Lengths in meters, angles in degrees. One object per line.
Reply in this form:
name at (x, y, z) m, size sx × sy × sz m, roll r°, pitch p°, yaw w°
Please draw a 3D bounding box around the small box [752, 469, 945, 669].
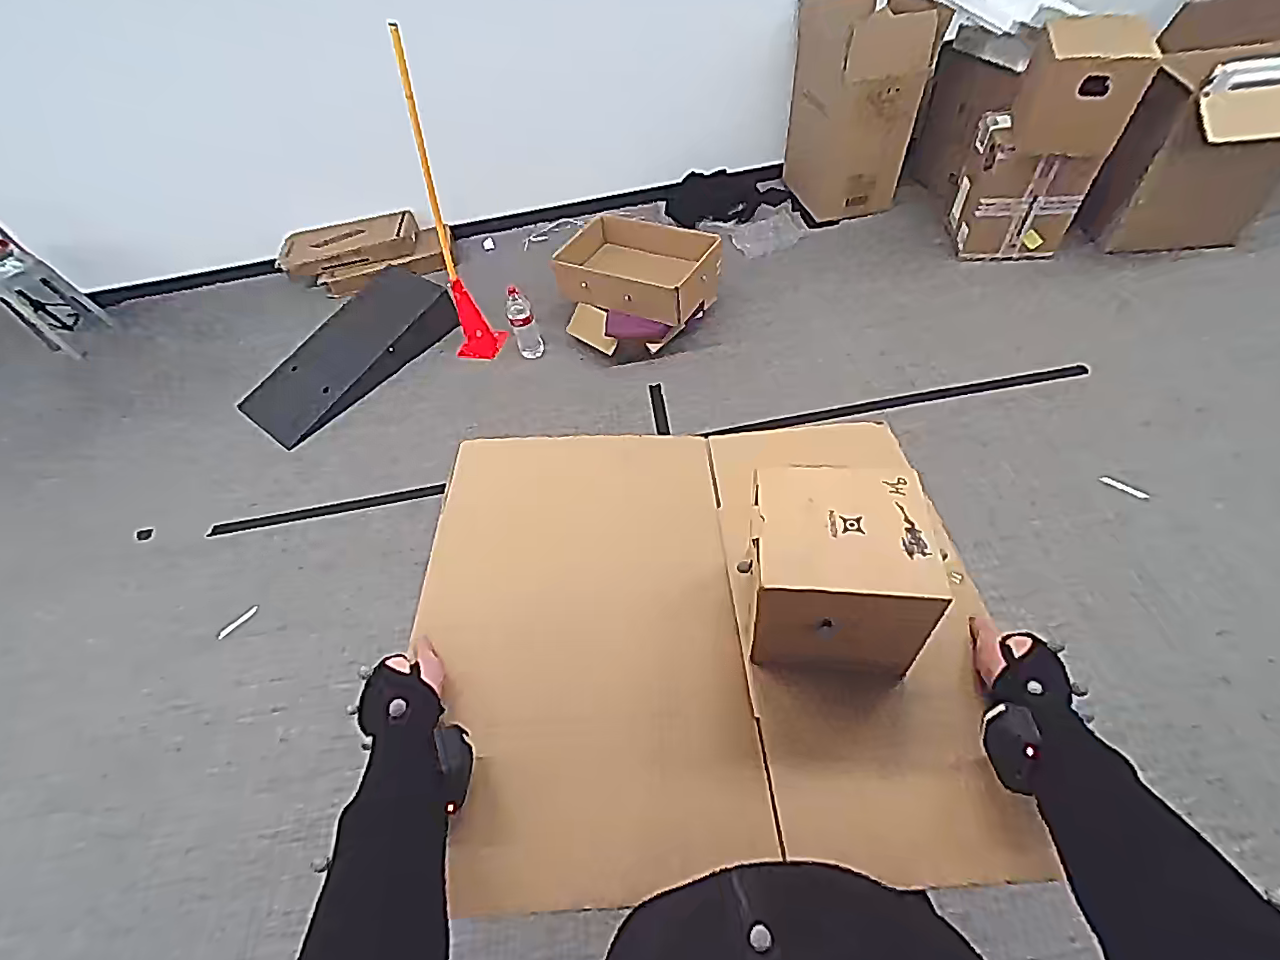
small box at (0.219, 0.104, 0.624) m, size 0.179 × 0.176 × 0.168 m, roll 1°, pitch 48°, yaw 10°
